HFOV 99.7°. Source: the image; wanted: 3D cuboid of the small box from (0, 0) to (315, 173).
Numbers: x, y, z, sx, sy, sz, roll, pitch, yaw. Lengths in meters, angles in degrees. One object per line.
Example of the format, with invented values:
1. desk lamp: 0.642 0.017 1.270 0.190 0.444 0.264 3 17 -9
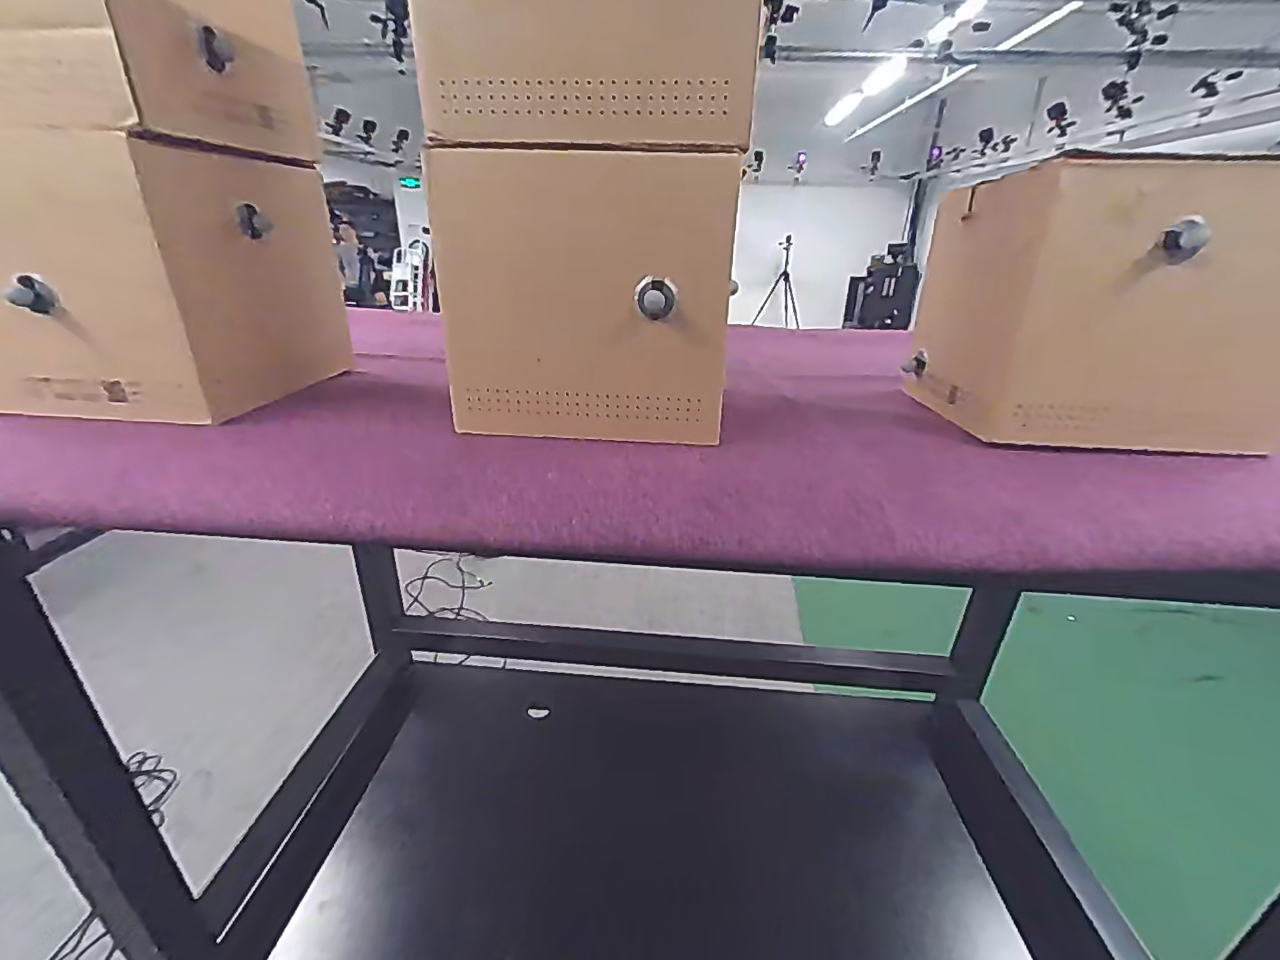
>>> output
1. small box: -0.343 -0.295 0.333 0.179 0.176 0.168 4 26 1

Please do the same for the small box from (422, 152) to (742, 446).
1. small box: -0.029 -0.129 0.393 0.179 0.176 0.168 2 24 3

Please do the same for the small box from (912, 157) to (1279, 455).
1. small box: 0.320 -0.122 0.393 0.179 0.176 0.168 4 22 5

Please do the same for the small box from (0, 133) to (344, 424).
1. small box: -0.350 -0.147 0.401 0.168 0.176 0.179 4 25 2
